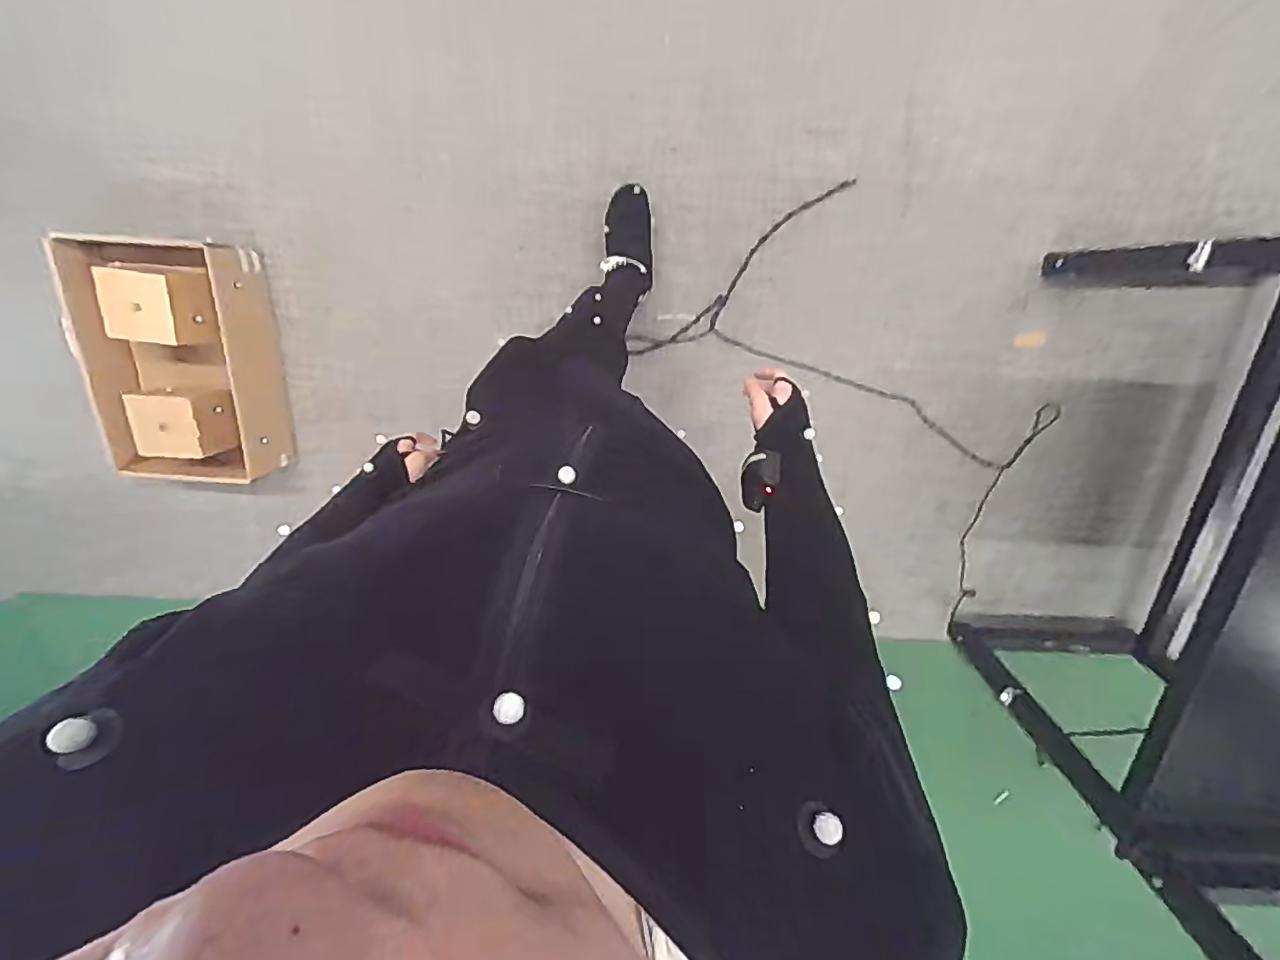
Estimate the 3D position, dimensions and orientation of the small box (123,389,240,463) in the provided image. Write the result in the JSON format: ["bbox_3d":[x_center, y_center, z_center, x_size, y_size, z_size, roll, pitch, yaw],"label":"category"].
[{"bbox_3d":[-1.238,-0.153,1.480,0.179,0.176,0.168,4,108,2],"label":"small box"}]

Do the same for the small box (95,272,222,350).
[{"bbox_3d":[-1.213,-0.436,1.382,0.179,0.176,0.168,7,110,0],"label":"small box"}]
